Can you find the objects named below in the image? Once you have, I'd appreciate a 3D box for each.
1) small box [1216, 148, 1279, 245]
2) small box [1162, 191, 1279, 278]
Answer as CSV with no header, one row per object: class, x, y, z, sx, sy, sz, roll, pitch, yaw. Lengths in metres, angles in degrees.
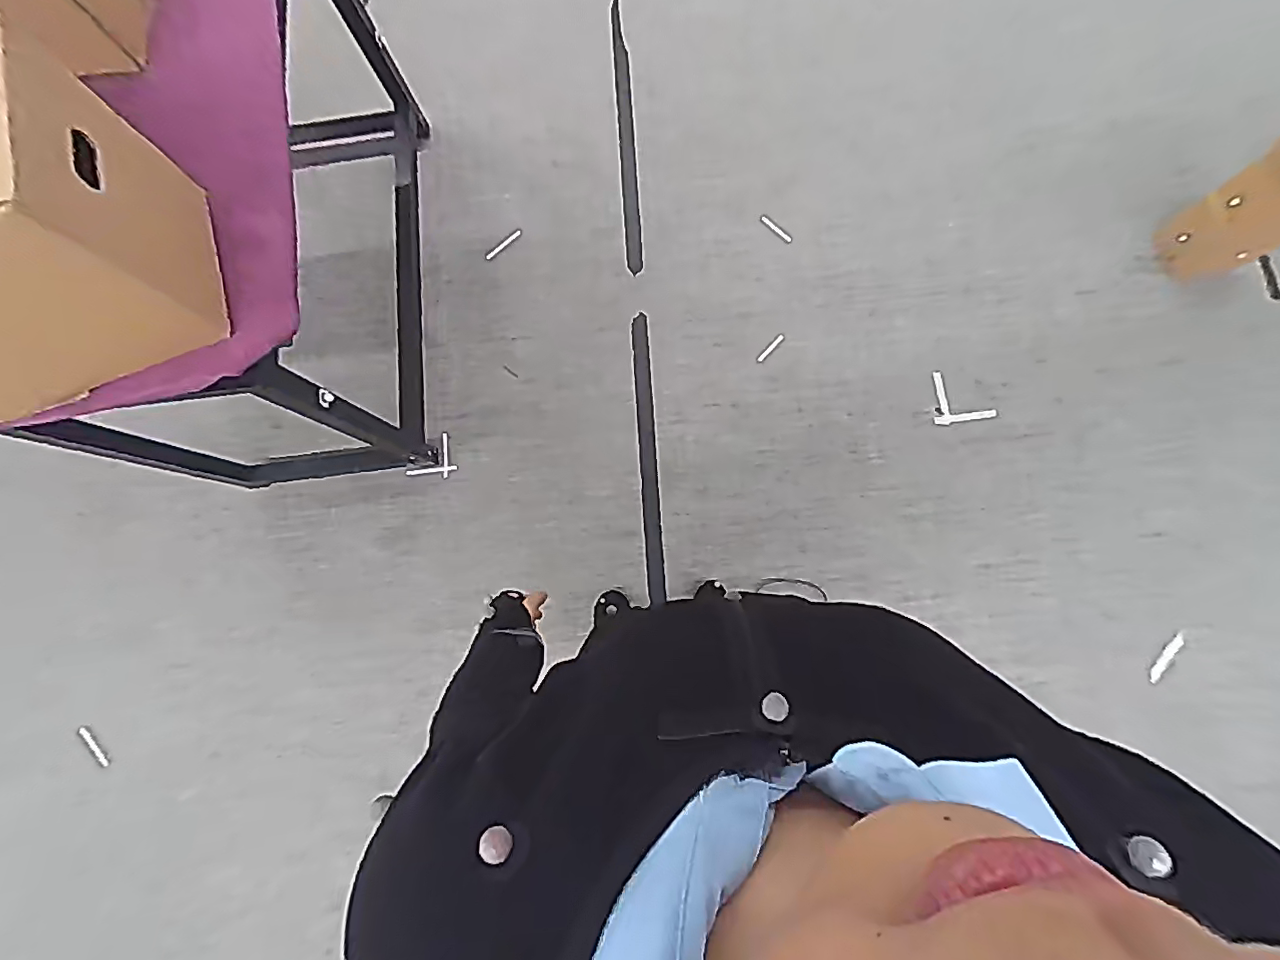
small box,1.625,-0.715,1.351,0.179,0.176,0.168,-5,79,3
small box,1.625,-0.688,1.512,0.179,0.176,0.168,-7,80,2
